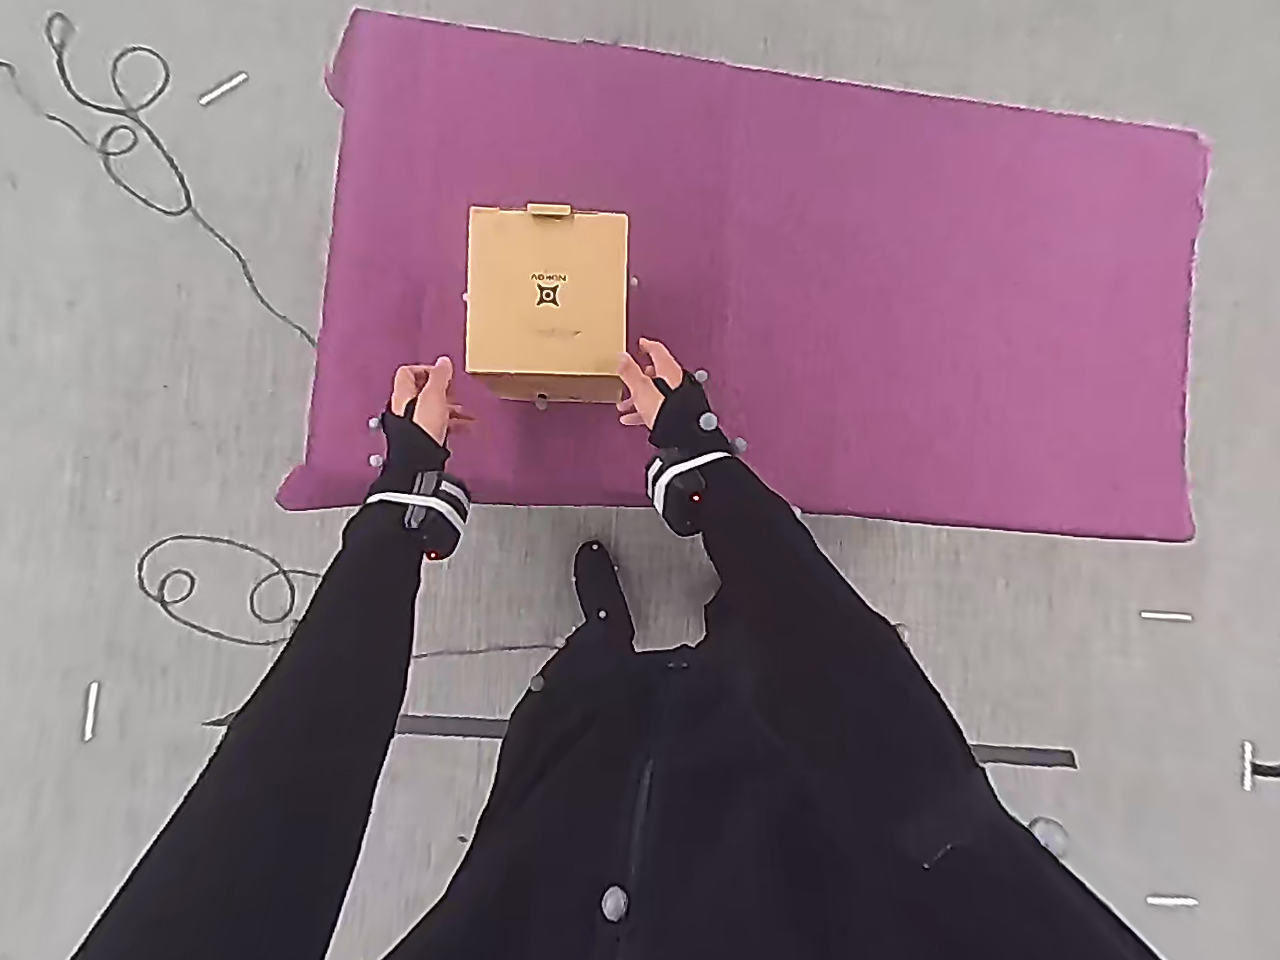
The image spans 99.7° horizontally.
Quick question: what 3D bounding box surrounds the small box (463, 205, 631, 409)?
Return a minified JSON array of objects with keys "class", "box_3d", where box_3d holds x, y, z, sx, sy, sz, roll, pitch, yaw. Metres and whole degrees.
[{"class":"small box","box_3d":[-0.101,-0.188,0.633,0.168,0.176,0.179,2,88,-4]}]
